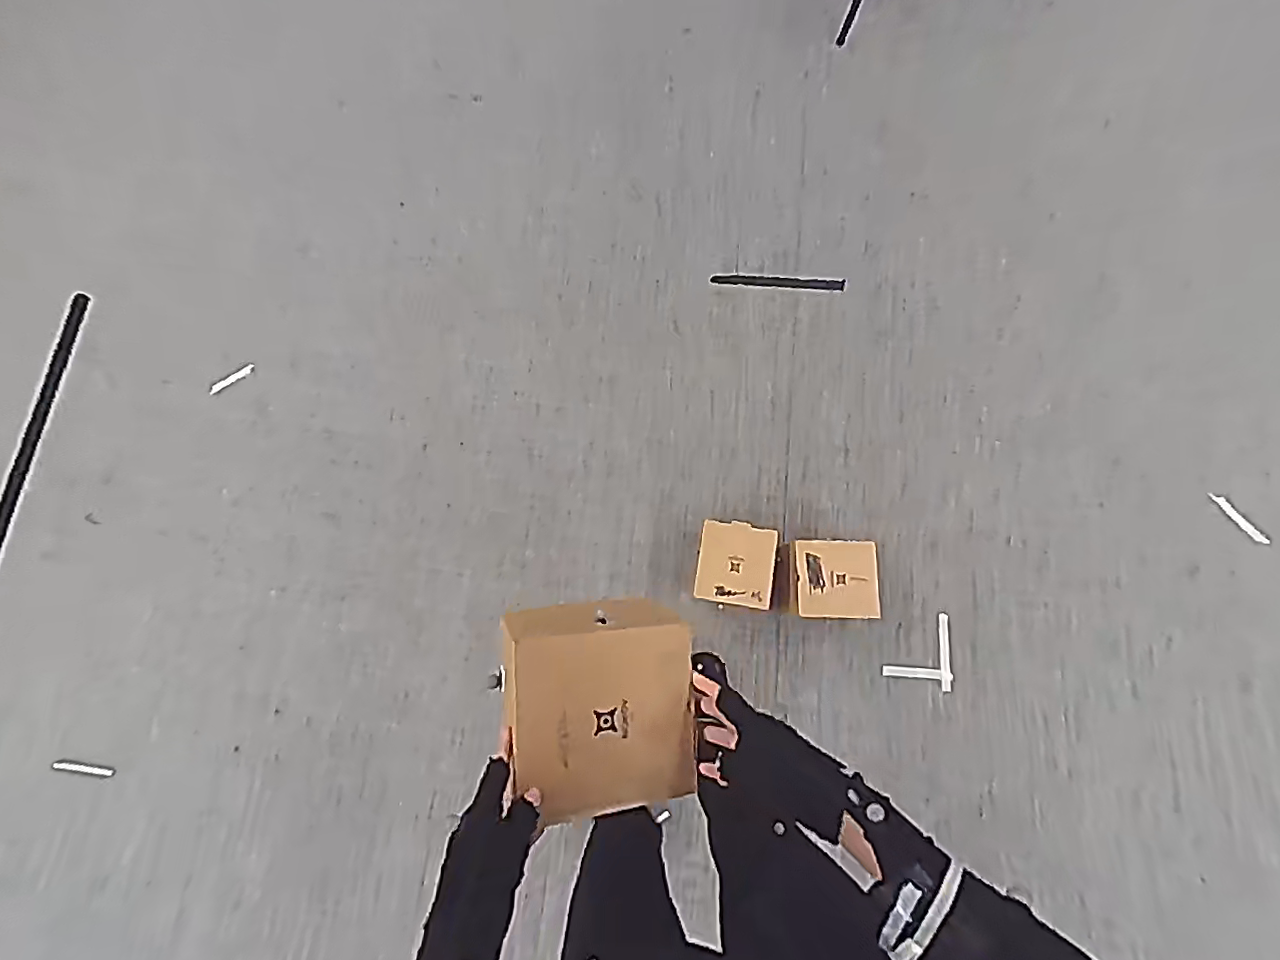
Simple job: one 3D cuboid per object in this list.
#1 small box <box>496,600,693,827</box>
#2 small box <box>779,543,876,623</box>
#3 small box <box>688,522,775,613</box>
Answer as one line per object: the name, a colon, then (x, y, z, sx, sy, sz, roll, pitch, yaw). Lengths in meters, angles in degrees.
small box: (-0.058, 0.227, 0.580, 0.179, 0.176, 0.168, -2, 86, -18)
small box: (0.419, 0.238, 1.240, 0.179, 0.176, 0.168, 1, 78, 2)
small box: (0.206, 0.207, 1.256, 0.168, 0.176, 0.179, 10, 78, 5)
